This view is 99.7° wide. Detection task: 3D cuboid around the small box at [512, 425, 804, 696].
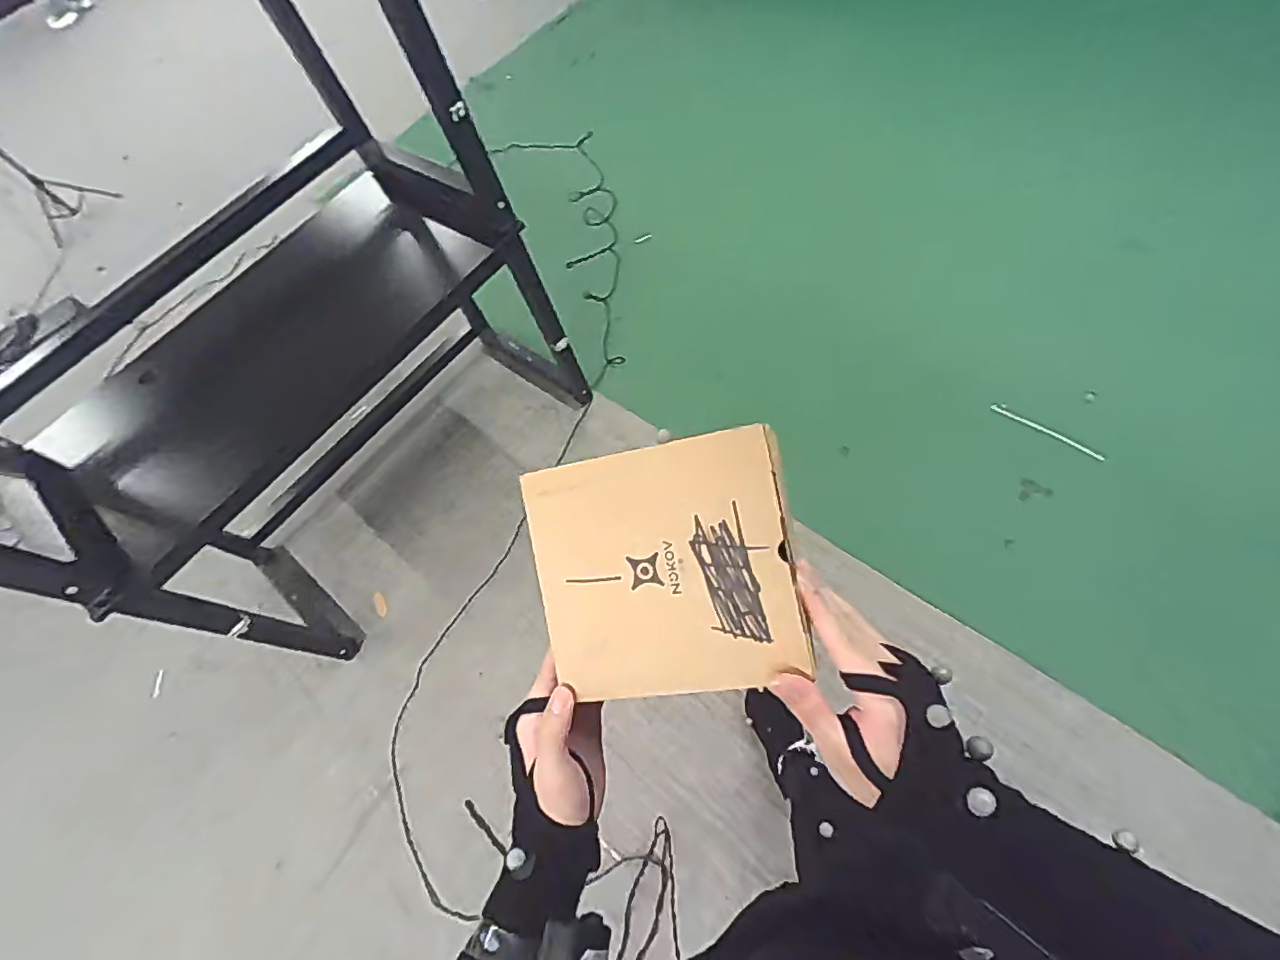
[{"bbox_3d":[0.026,0.053,0.435,0.179,0.176,0.168,-11,90,16],"label":"small box"}]
